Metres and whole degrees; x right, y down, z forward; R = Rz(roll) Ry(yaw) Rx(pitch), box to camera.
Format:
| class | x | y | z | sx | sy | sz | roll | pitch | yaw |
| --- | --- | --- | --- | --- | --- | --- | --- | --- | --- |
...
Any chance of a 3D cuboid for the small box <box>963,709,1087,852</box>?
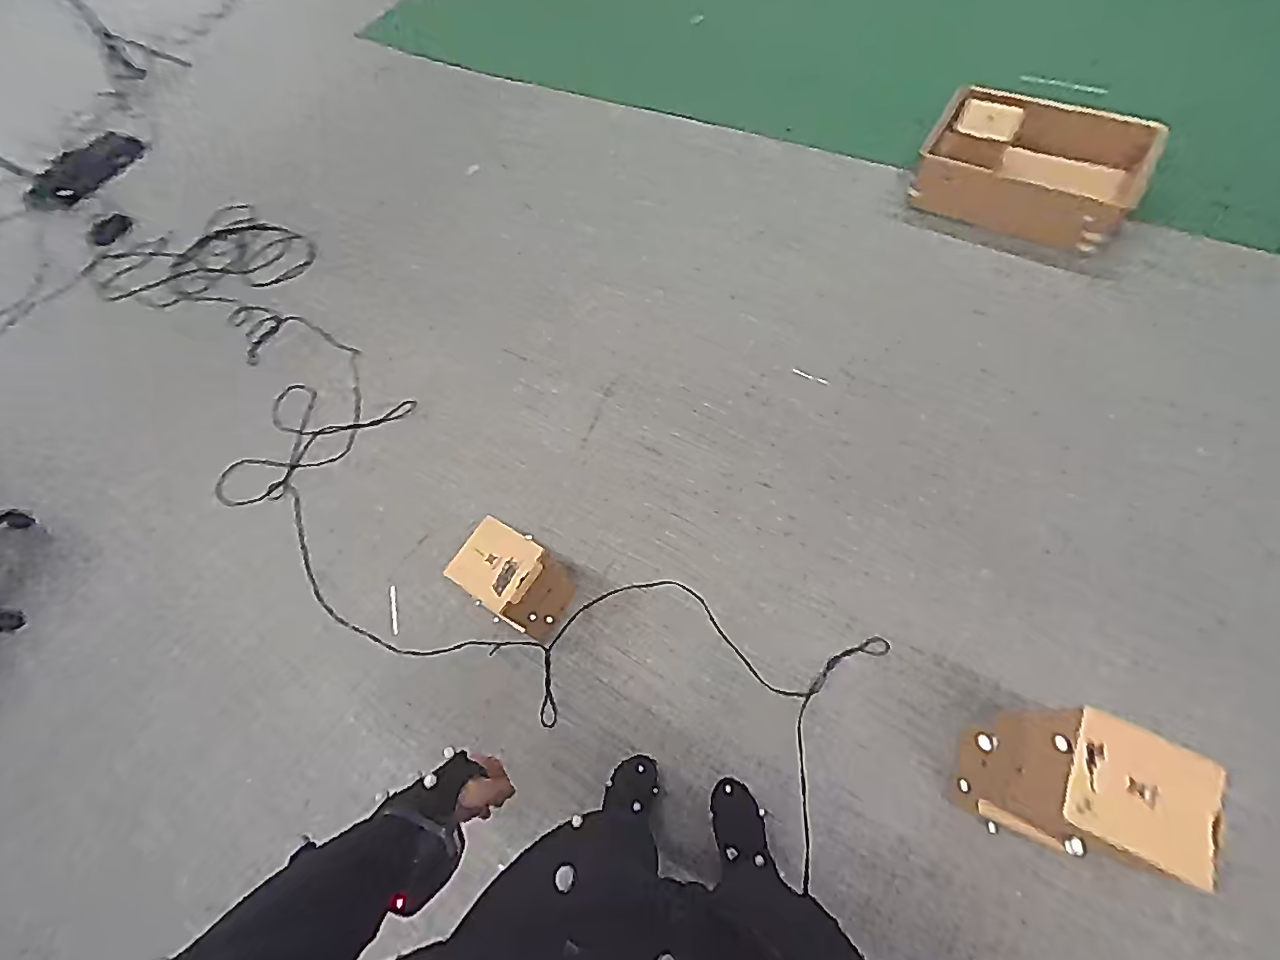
| class | x | y | z | sx | sy | sz | roll | pitch | yaw |
| --- | --- | --- | --- | --- | --- | --- | --- | --- | --- |
| small box | 0.724 | 0.534 | 0.971 | 0.179 | 0.176 | 0.168 | 24 | 70 | 19 |

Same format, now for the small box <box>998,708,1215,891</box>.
| class | x | y | z | sx | sy | sz | roll | pitch | yaw |
| --- | --- | --- | --- | --- | --- | --- | --- | --- | --- |
| small box | 0.695 | 0.468 | 0.823 | 0.179 | 0.176 | 0.168 | 25 | 70 | 17 |

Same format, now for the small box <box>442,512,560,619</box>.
| class | x | y | z | sx | sy | sz | roll | pitch | yaw |
| --- | --- | --- | --- | --- | --- | --- | --- | --- | --- |
| small box | -0.311 | 0.206 | 1.257 | 0.179 | 0.176 | 0.168 | 28 | 71 | 20 |

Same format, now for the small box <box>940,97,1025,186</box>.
| class | x | y | z | sx | sy | sz | roll | pitch | yaw |
| --- | --- | --- | --- | --- | --- | --- | --- | --- | --- |
| small box | 1.134 | -1.124 | 1.801 | 0.168 | 0.176 | 0.179 | 25 | 72 | 18 |

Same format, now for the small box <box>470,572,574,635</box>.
| class | x | y | z | sx | sy | sz | roll | pitch | yaw |
| --- | --- | --- | --- | --- | --- | --- | --- | --- | --- |
| small box | -0.296 | 0.285 | 1.400 | 0.179 | 0.176 | 0.168 | 28 | 71 | 20 |
